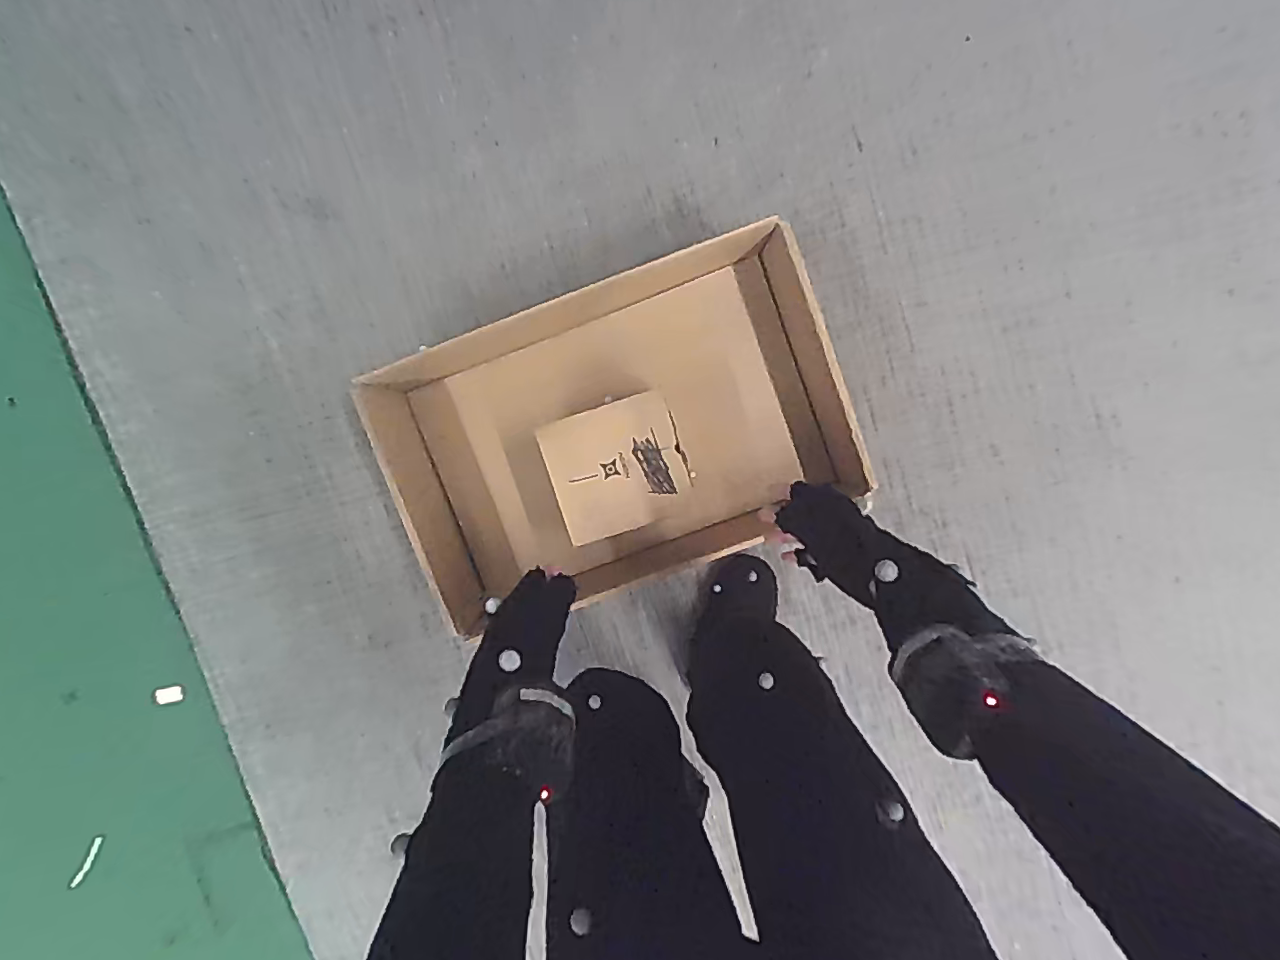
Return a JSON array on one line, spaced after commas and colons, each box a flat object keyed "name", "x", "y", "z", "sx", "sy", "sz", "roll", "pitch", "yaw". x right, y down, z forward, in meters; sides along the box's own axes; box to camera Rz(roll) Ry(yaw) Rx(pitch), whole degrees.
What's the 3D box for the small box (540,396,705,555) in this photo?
[{"name": "small box", "x": -0.022, "y": -0.013, "z": 0.778, "sx": 0.179, "sy": 0.176, "sz": 0.168, "roll": -20, "pitch": 94, "yaw": 3}]
